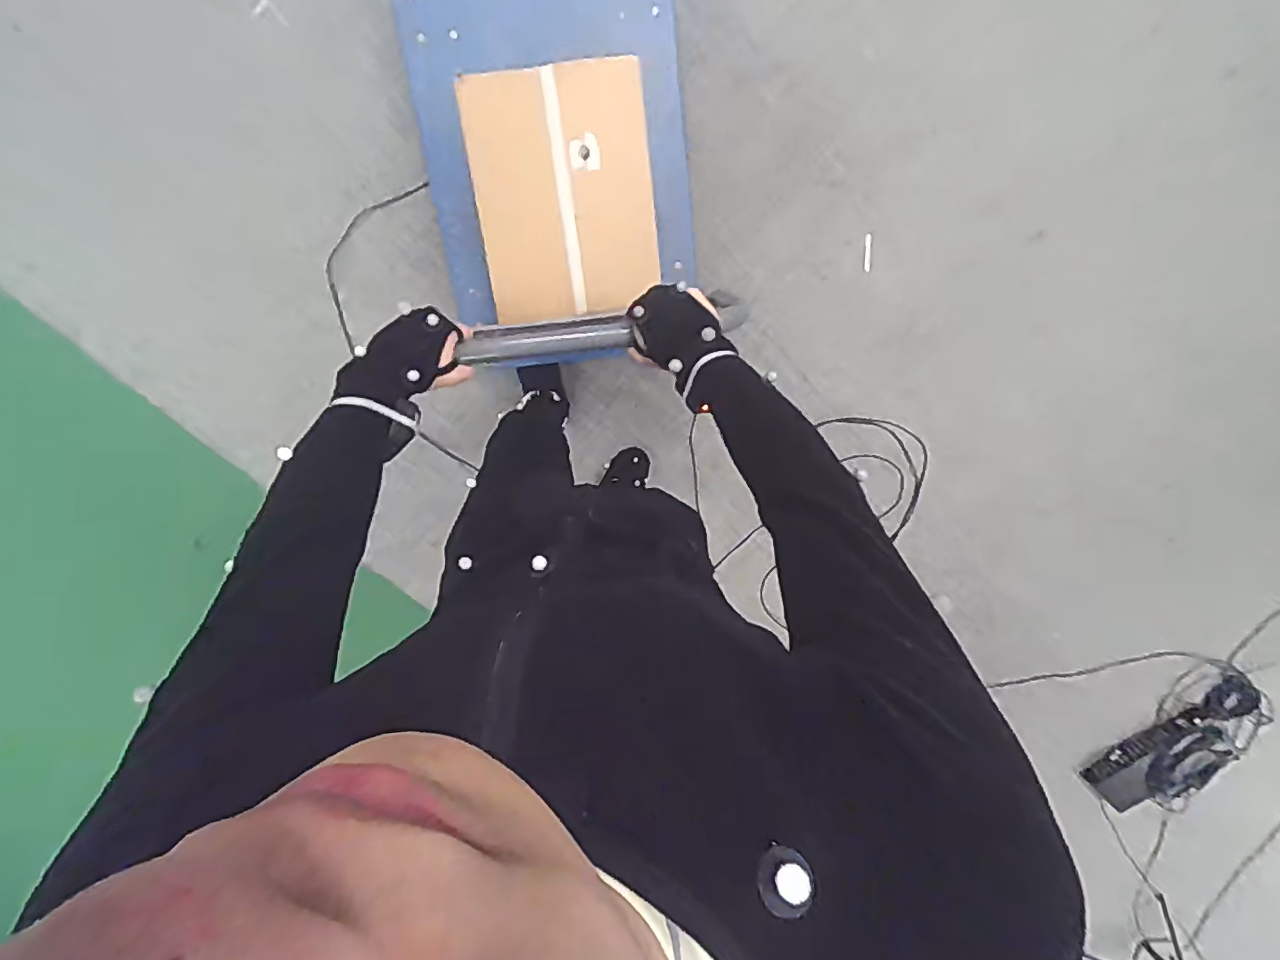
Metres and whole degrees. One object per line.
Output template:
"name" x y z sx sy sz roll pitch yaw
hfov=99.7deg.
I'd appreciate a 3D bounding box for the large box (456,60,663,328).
"large box" -0.139 -0.536 1.103 0.320 0.320 0.408 -7 106 -1
